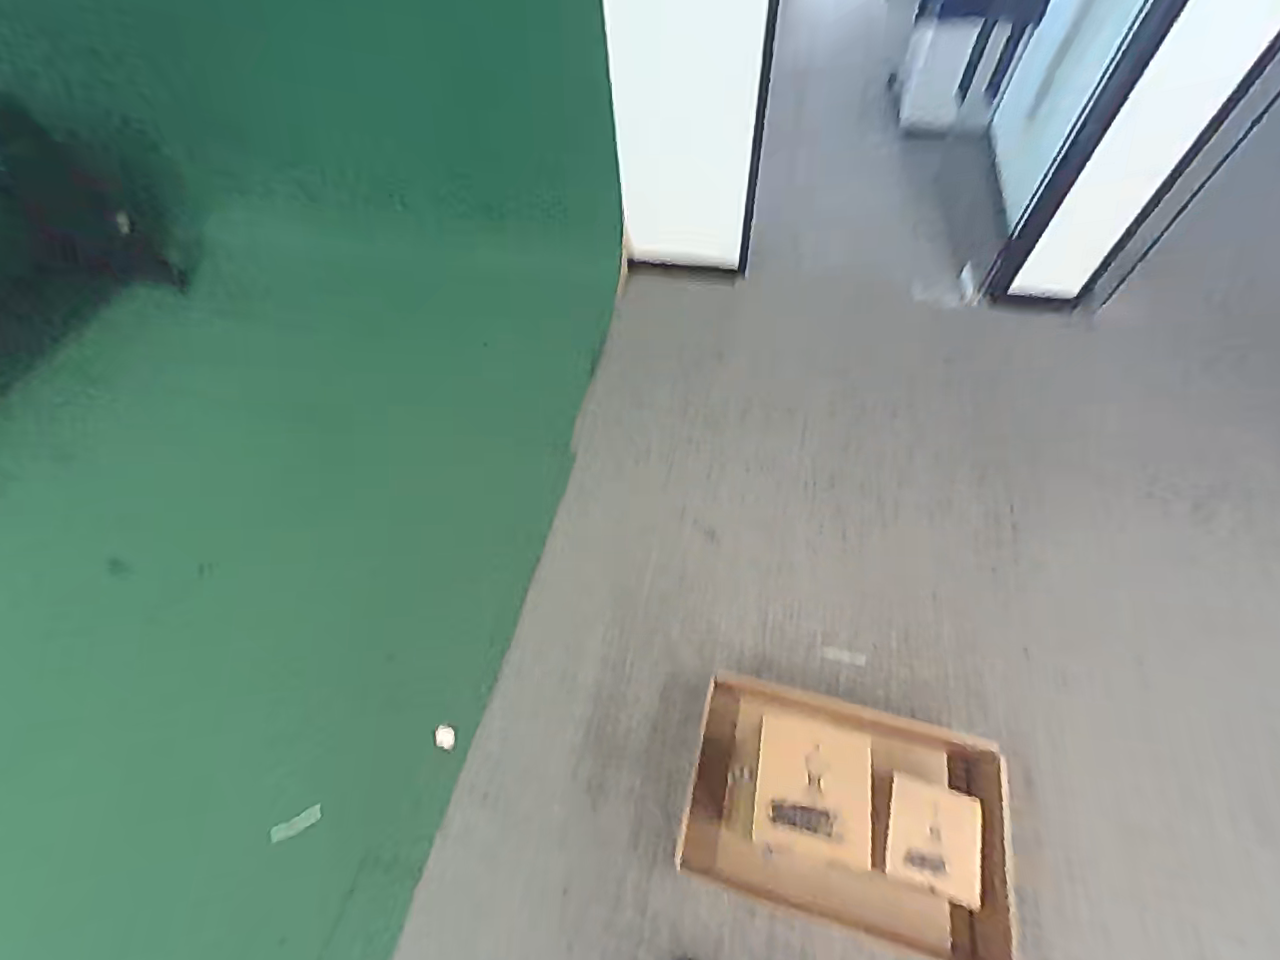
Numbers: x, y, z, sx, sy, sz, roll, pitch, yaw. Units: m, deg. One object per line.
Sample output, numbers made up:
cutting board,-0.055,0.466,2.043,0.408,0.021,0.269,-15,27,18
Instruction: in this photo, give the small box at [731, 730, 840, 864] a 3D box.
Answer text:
small box,0.266,0.589,1.008,0.168,0.176,0.179,9,58,10
